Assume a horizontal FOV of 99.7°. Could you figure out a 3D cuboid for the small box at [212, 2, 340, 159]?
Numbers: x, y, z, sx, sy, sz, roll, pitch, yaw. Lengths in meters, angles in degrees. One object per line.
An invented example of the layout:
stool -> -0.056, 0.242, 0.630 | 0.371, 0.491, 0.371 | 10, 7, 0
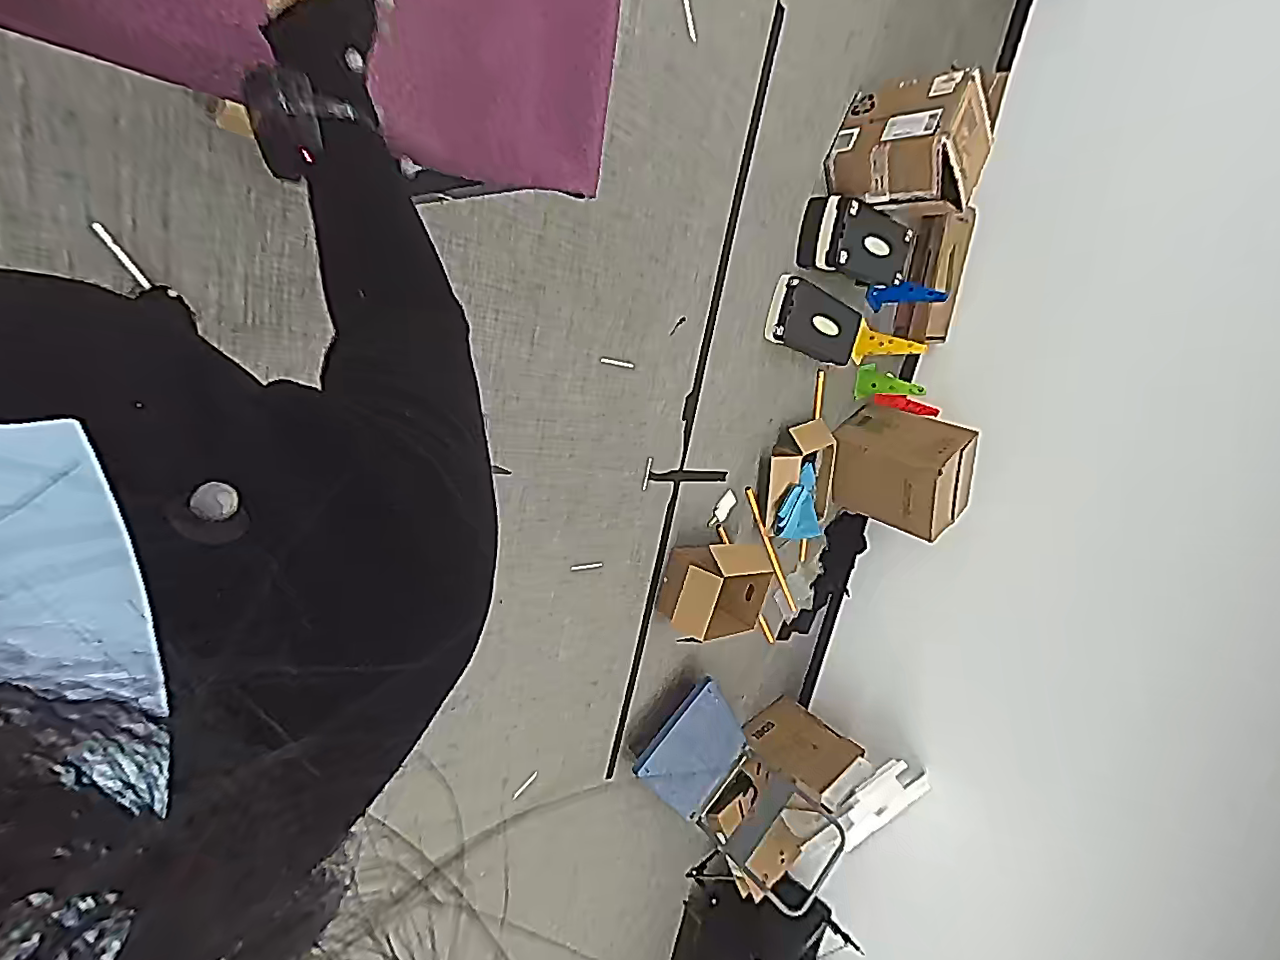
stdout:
small box -> -0.714, -0.758, 1.055 | 0.168, 0.176, 0.179 | 10, 100, -46
